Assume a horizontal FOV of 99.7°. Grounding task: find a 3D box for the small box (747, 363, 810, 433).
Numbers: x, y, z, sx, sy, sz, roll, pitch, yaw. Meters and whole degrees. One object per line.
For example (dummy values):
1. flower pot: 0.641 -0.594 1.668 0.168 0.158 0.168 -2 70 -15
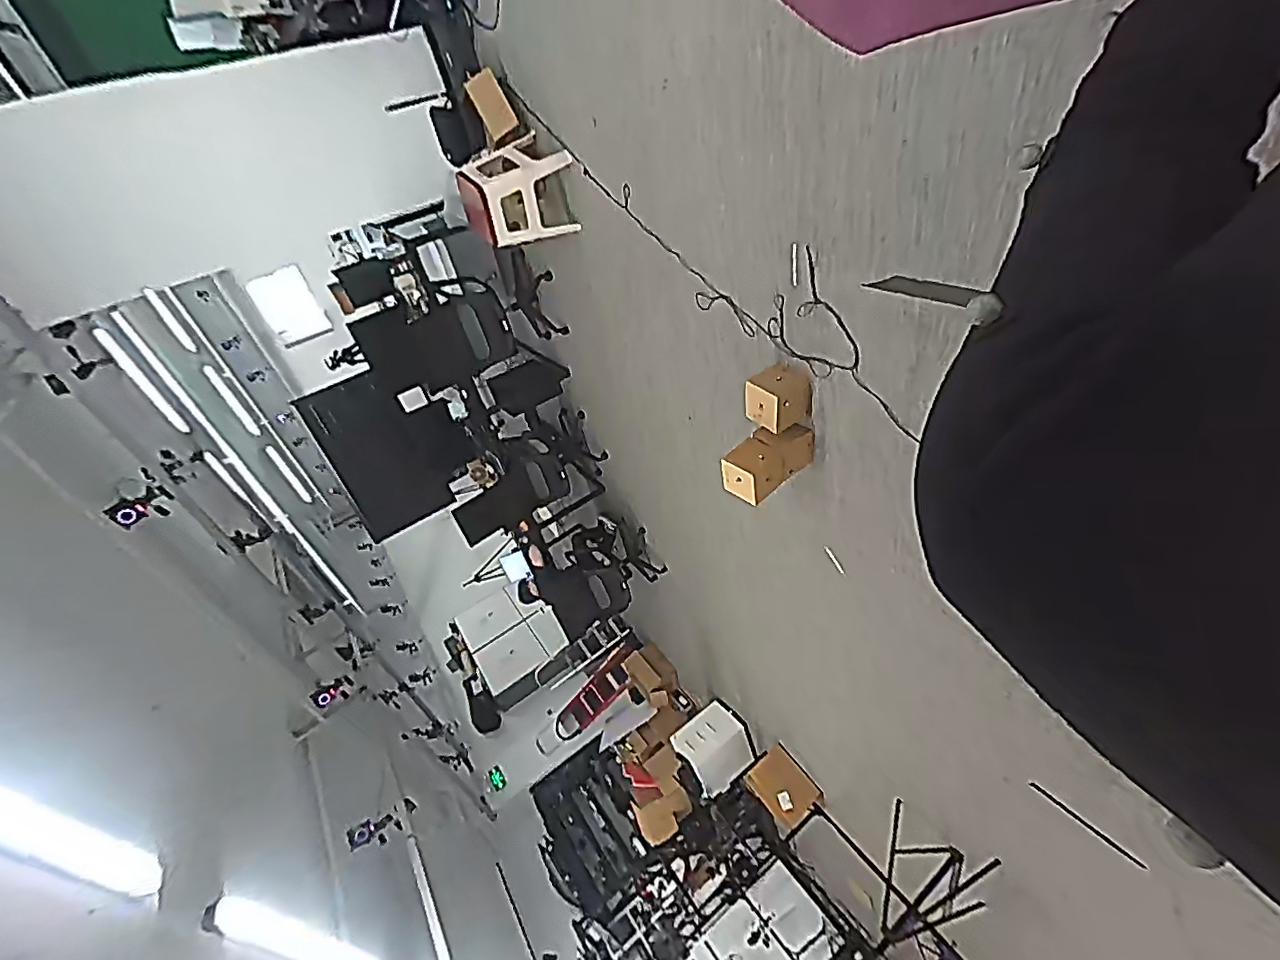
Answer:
1. small box: 0.527 -0.318 2.061 0.168 0.176 0.179 41 154 41
